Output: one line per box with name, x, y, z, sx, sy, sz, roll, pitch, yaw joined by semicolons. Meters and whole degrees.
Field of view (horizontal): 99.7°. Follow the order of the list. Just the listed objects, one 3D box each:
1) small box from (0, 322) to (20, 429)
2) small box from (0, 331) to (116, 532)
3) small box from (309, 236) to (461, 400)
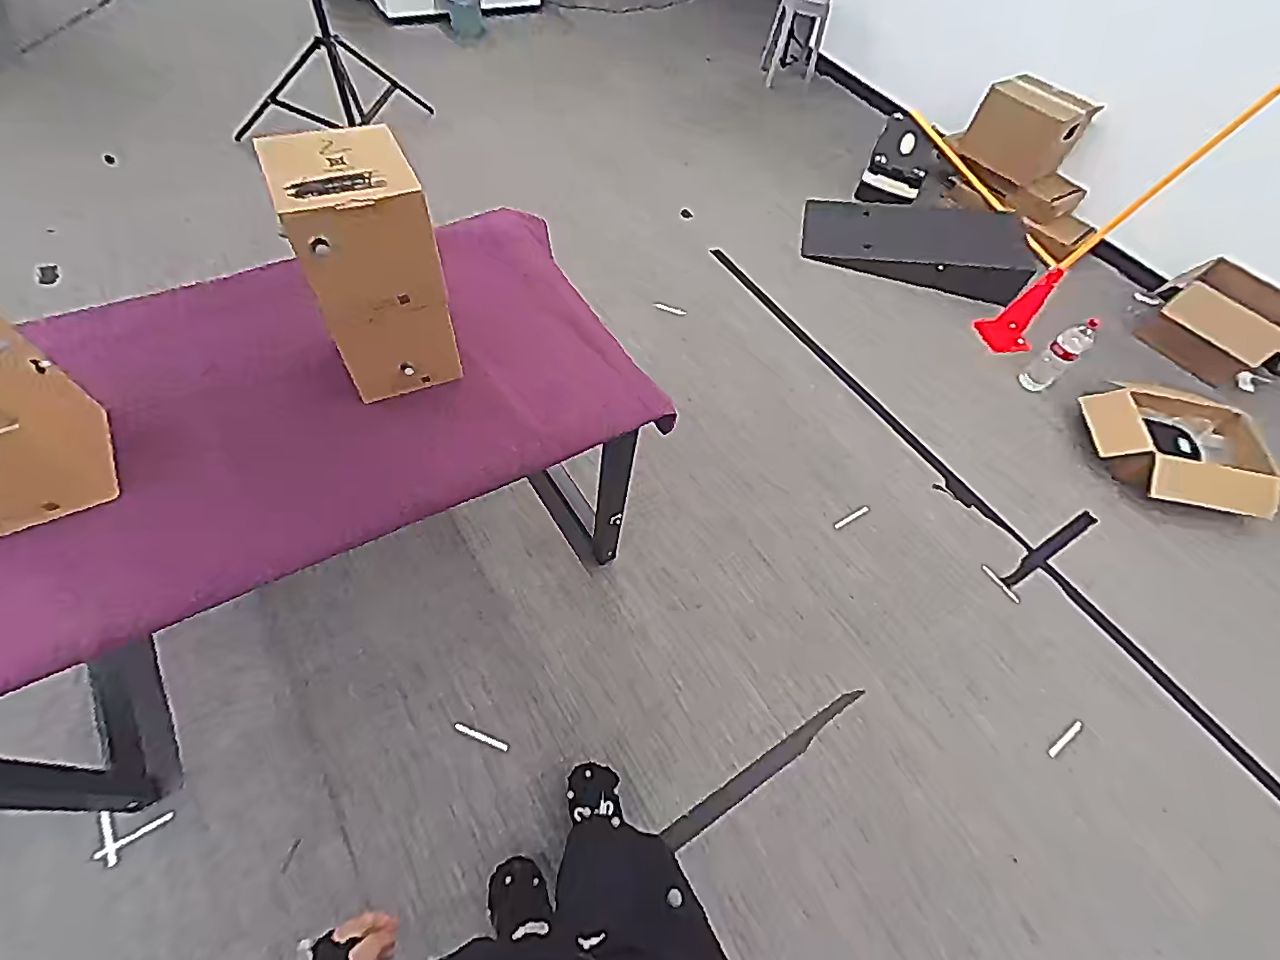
small box;-0.804;-0.142;0.552;0.168;0.176;0.179;-25;64;-22
small box;-0.821;-0.050;0.687;0.168;0.176;0.179;-24;64;-22
small box;-0.407;-0.262;0.880;0.168;0.176;0.179;-20;63;-19
